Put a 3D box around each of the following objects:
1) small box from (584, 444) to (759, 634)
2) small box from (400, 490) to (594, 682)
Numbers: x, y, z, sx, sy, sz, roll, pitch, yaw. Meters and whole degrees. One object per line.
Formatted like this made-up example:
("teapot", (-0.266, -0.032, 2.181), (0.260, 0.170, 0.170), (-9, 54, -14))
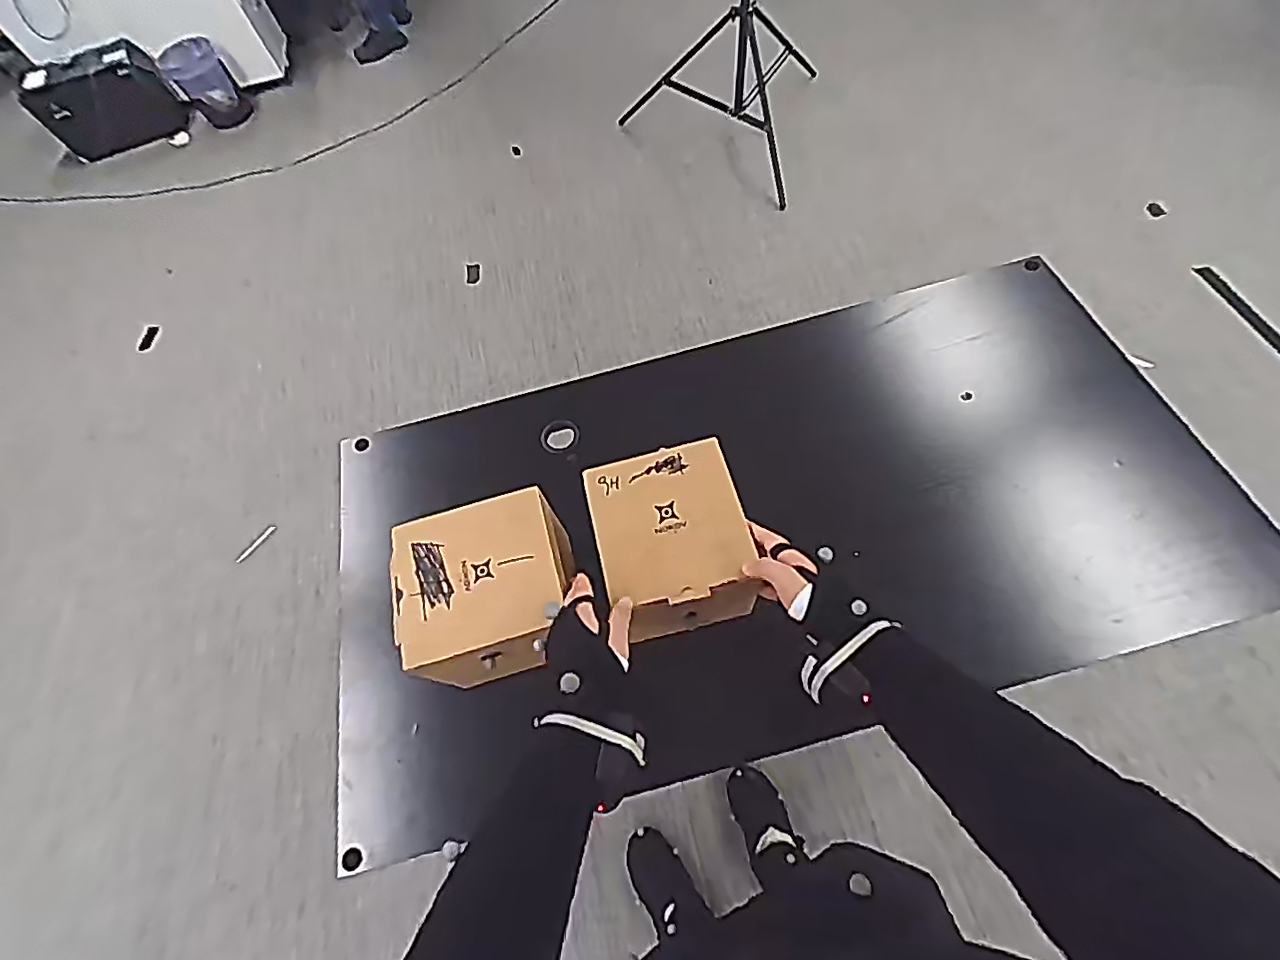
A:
("small box", (0.037, 0.084, 0.674), (0.168, 0.176, 0.179), (-13, 63, -2))
("small box", (-0.170, 0.139, 0.670), (0.179, 0.176, 0.168), (-17, 63, -3))
